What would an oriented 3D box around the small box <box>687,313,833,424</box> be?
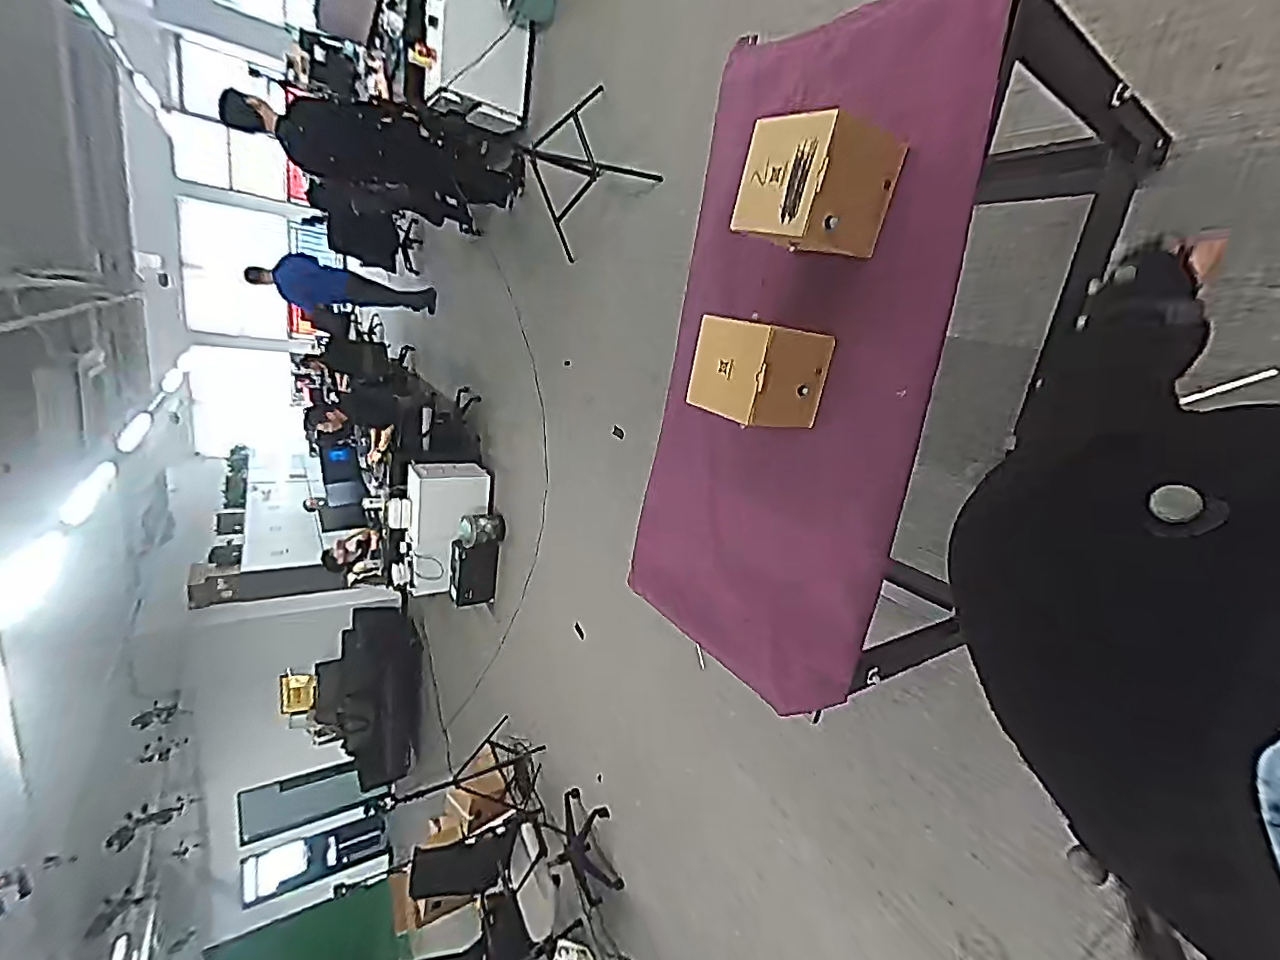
[{"bbox_3d":[0.215,-0.201,0.988,0.179,0.176,0.168,32,118,50],"label":"small box"}]
